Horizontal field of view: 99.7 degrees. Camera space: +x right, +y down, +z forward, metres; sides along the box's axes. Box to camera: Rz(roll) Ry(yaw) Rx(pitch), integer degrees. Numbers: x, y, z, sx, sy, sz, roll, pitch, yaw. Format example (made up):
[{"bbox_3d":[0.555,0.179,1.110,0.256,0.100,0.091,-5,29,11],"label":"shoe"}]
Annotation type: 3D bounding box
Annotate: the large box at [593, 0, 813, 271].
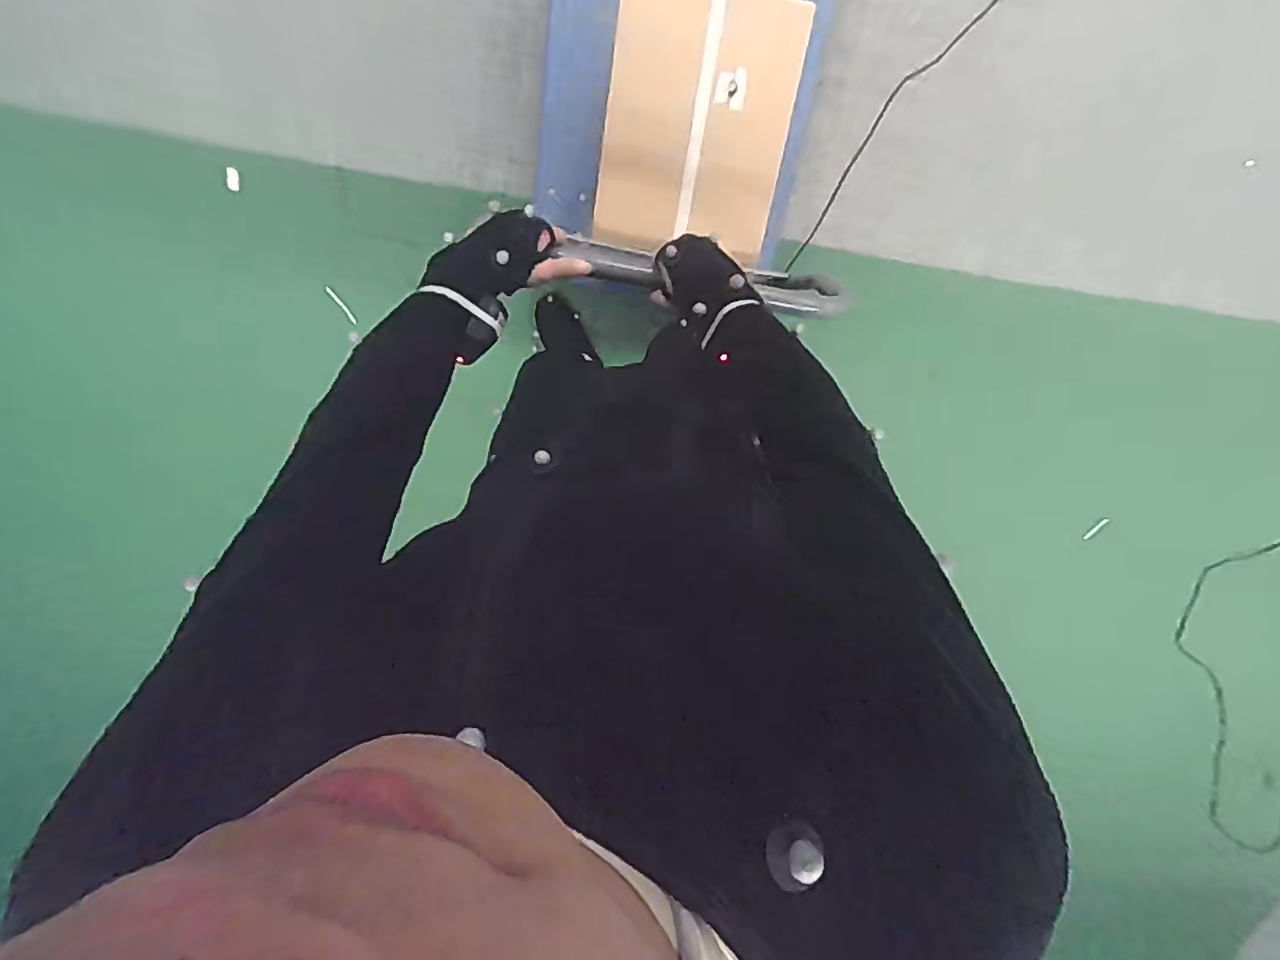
[{"bbox_3d":[0.096,-0.644,1.058,0.320,0.320,0.408,9,110,-5],"label":"large box"}]
